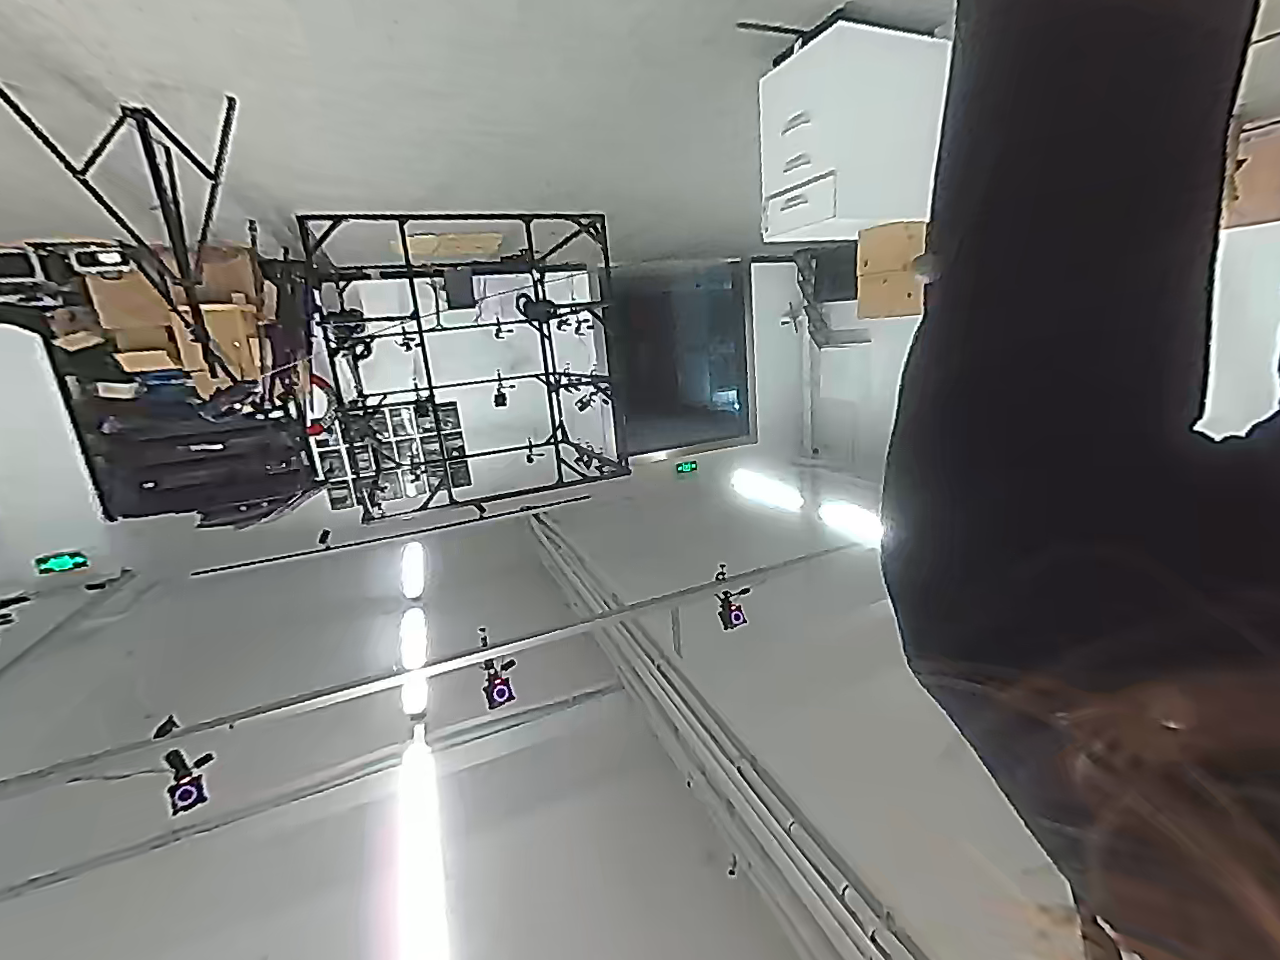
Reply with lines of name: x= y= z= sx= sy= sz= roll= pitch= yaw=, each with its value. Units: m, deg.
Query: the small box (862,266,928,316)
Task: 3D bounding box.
small box: x=0.987 y=-0.734 z=2.098 sx=0.179 sy=0.176 sz=0.168 roll=-12 pitch=-162 yaw=-21

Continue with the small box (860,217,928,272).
small box: x=0.969 y=-0.892 z=2.057 sx=0.168 sy=0.176 sz=0.179 roll=-12 pitch=-163 yaw=-21
